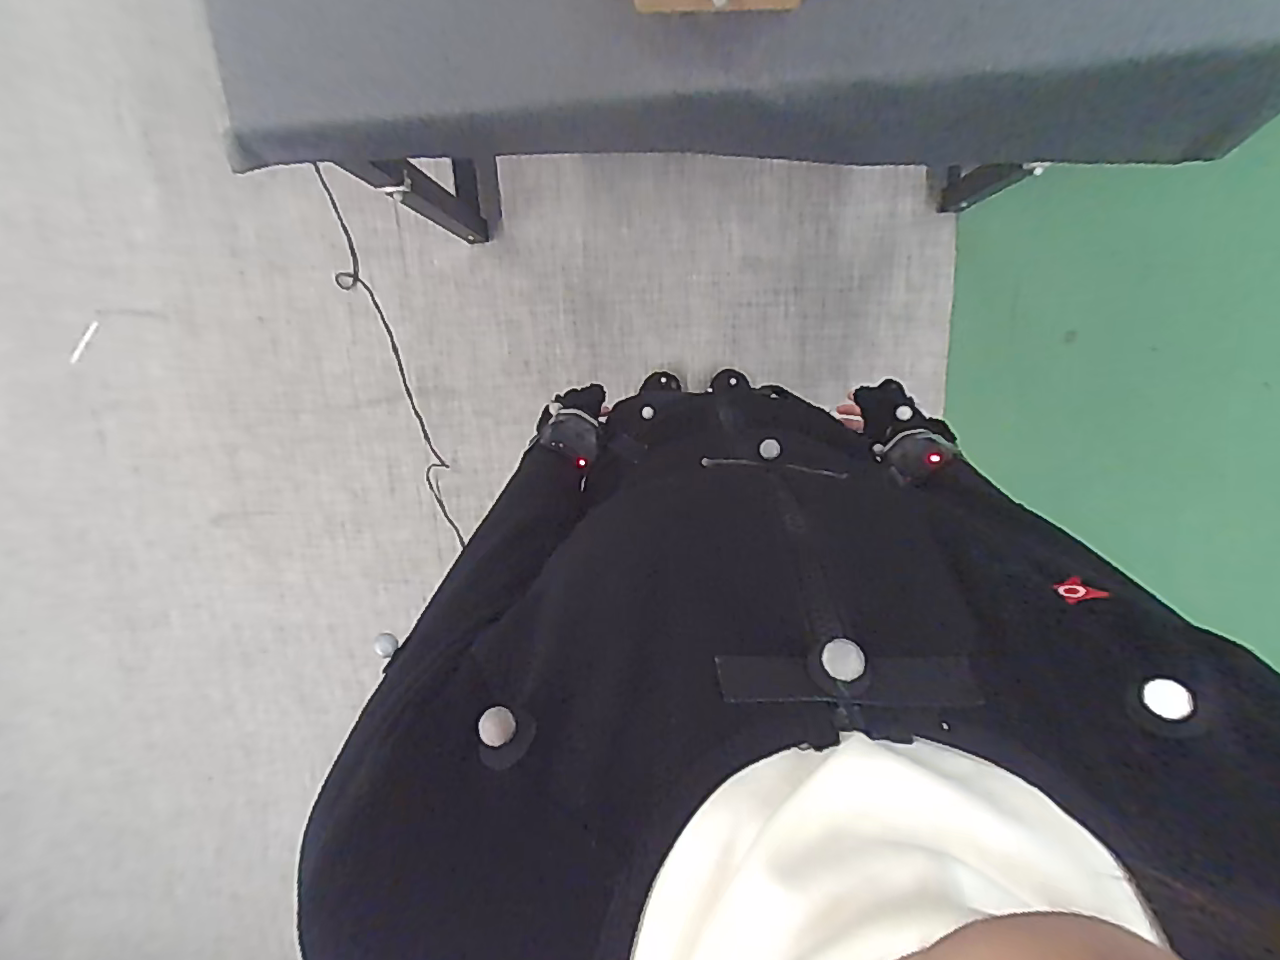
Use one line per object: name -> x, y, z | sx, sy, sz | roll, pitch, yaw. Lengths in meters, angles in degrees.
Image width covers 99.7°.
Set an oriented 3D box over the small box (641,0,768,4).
small box -> 0.078, -0.575, 0.487 | 0.179, 0.176, 0.168 | 0, 102, 2
